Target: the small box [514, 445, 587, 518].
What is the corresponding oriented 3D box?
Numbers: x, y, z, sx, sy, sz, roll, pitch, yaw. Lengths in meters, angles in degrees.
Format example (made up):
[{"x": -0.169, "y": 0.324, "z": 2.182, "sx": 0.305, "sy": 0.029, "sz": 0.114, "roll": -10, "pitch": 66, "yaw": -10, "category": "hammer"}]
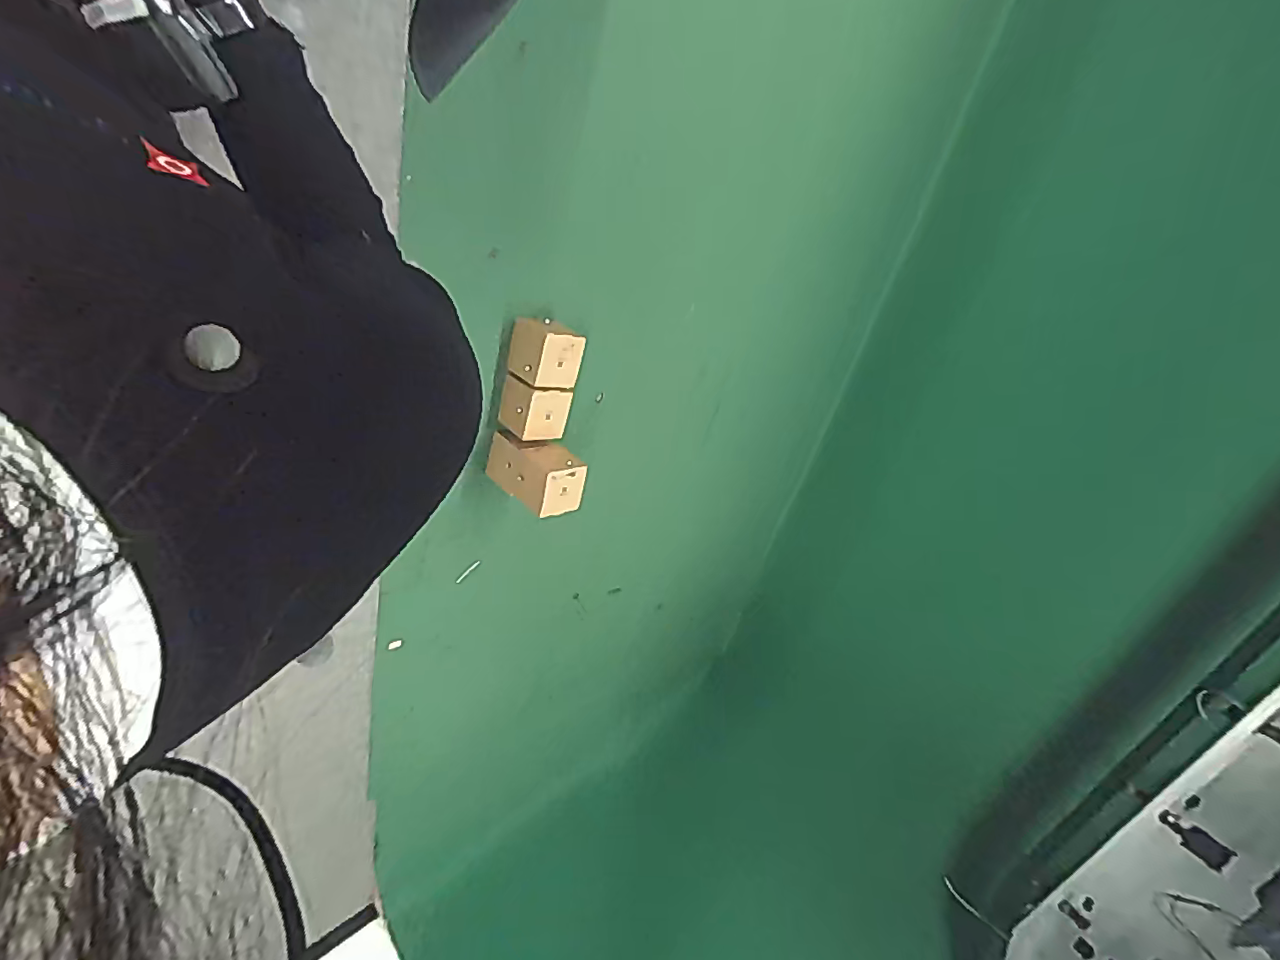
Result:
[{"x": -0.309, "y": 0.001, "z": 1.835, "sx": 0.168, "sy": 0.176, "sz": 0.179, "roll": -13, "pitch": 128, "yaw": -45, "category": "small box"}]
